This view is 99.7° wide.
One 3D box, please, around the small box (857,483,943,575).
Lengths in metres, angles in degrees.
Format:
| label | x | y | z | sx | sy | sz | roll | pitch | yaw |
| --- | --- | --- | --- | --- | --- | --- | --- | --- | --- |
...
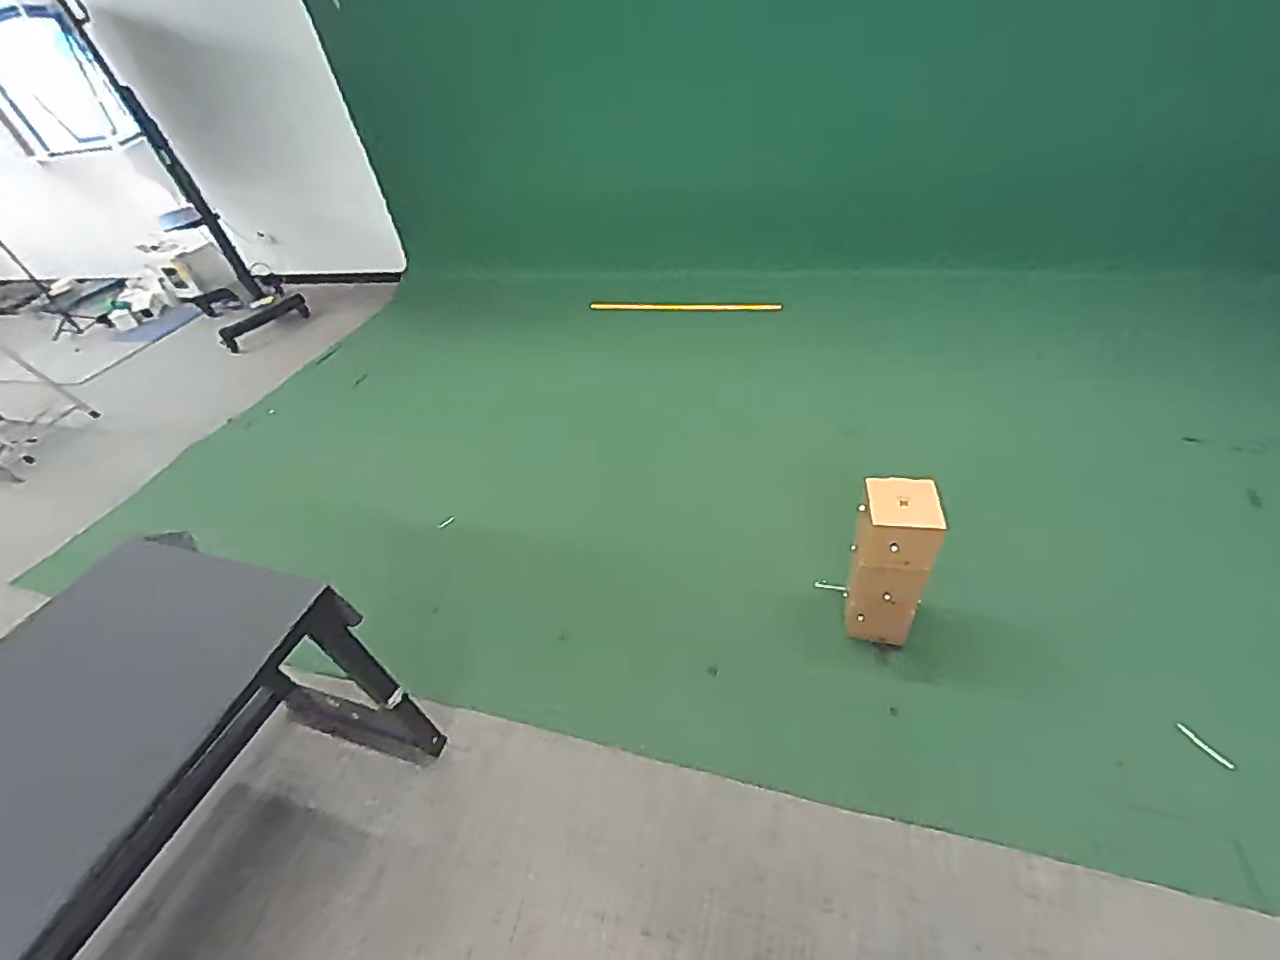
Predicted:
| label | x | y | z | sx | sy | sz | roll | pitch | yaw |
| --- | --- | --- | --- | --- | --- | --- | --- | --- | --- |
| small box | 0.670 | 0.128 | 1.413 | 0.168 | 0.176 | 0.179 | 2 | 41 | 13 |

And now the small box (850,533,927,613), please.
| label | x | y | z | sx | sy | sz | roll | pitch | yaw |
| --- | --- | --- | --- | --- | --- | --- | --- | --- | --- |
| small box | 0.690 | 0.247 | 1.522 | 0.168 | 0.176 | 0.179 | 4 | 43 | 15 |
